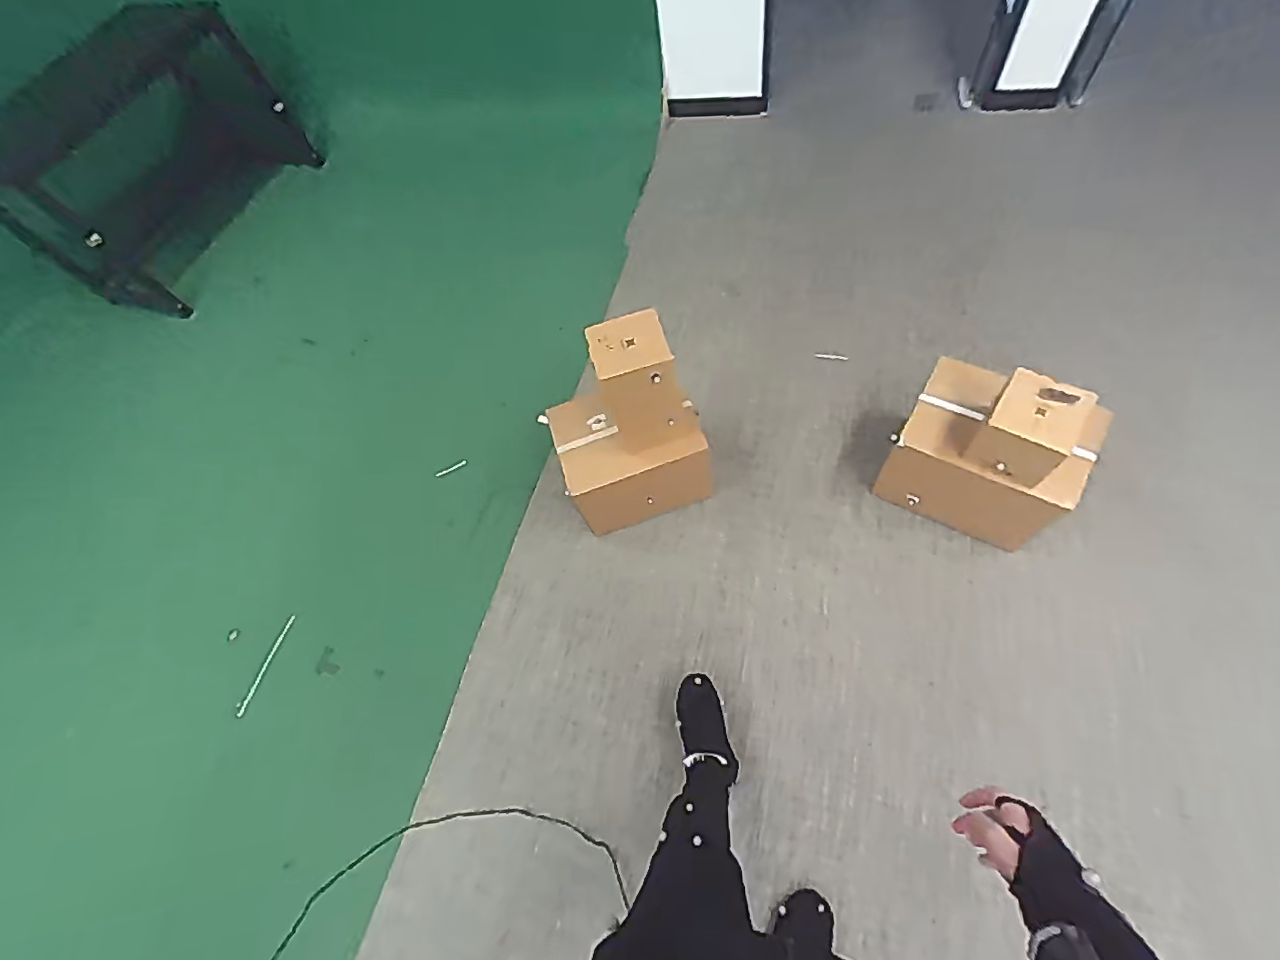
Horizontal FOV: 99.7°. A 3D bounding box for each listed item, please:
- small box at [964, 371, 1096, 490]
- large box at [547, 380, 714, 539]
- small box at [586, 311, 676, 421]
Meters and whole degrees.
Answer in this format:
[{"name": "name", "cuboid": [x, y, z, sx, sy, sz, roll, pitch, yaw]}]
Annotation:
[{"name": "small box", "cuboid": [0.879, -0.110, 1.236, 0.168, 0.176, 0.179, 30, 73, 23]}, {"name": "large box", "cuboid": [-0.020, -0.068, 1.659, 0.408, 0.320, 0.320, -21, 60, 0]}, {"name": "small box", "cuboid": [-0.016, -0.267, 1.293, 0.179, 0.176, 0.168, -16, 61, 2]}]
